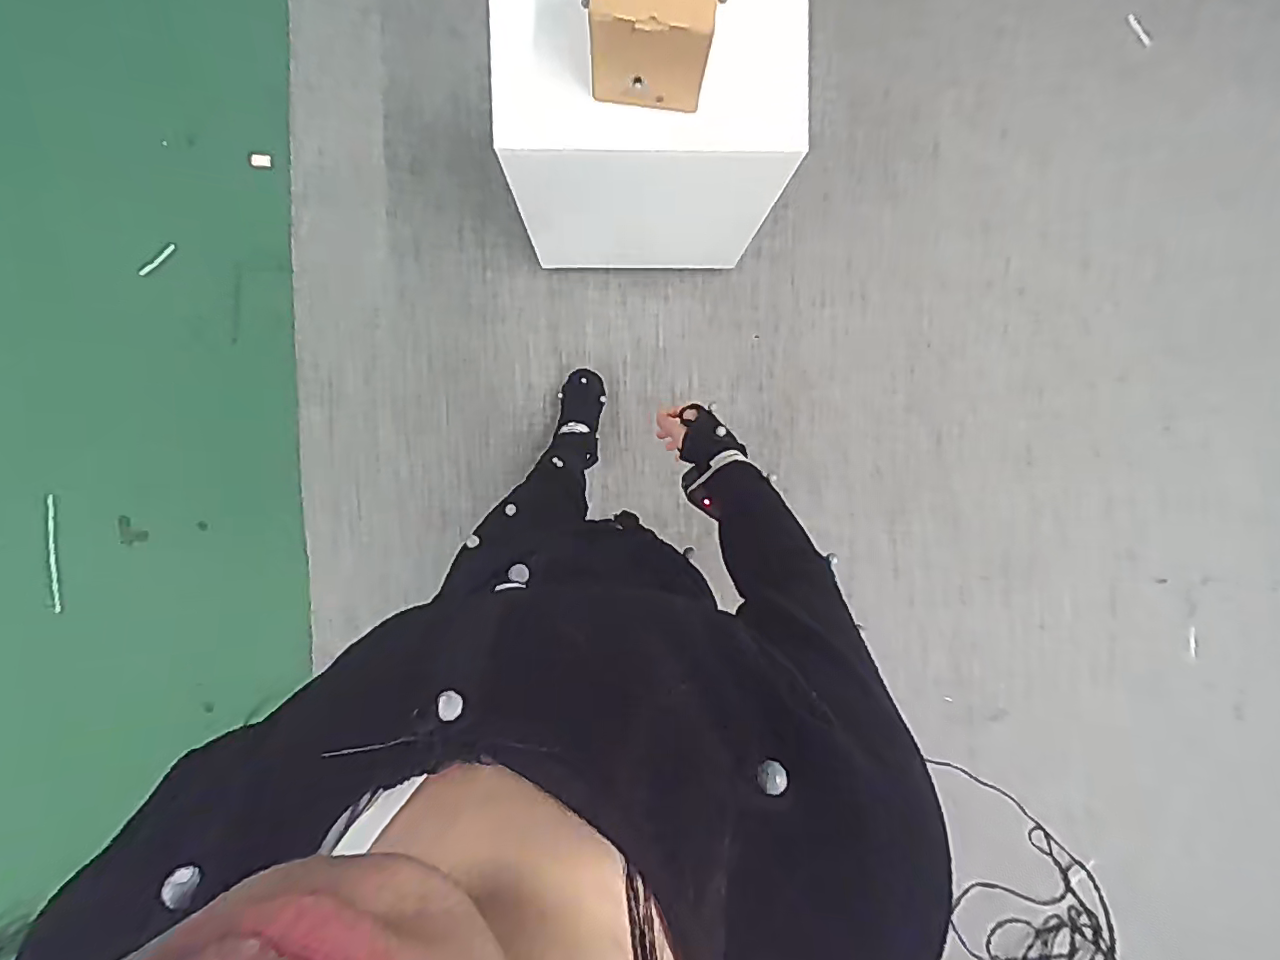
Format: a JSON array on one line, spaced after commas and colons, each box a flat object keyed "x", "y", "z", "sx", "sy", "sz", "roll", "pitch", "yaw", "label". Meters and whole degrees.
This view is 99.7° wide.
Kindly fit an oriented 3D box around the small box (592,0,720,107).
[{"x": 0.022, "y": -0.678, "z": 0.766, "sx": 0.168, "sy": 0.176, "sz": 0.179, "roll": 5, "pitch": 93, "yaw": -3, "label": "small box"}]
